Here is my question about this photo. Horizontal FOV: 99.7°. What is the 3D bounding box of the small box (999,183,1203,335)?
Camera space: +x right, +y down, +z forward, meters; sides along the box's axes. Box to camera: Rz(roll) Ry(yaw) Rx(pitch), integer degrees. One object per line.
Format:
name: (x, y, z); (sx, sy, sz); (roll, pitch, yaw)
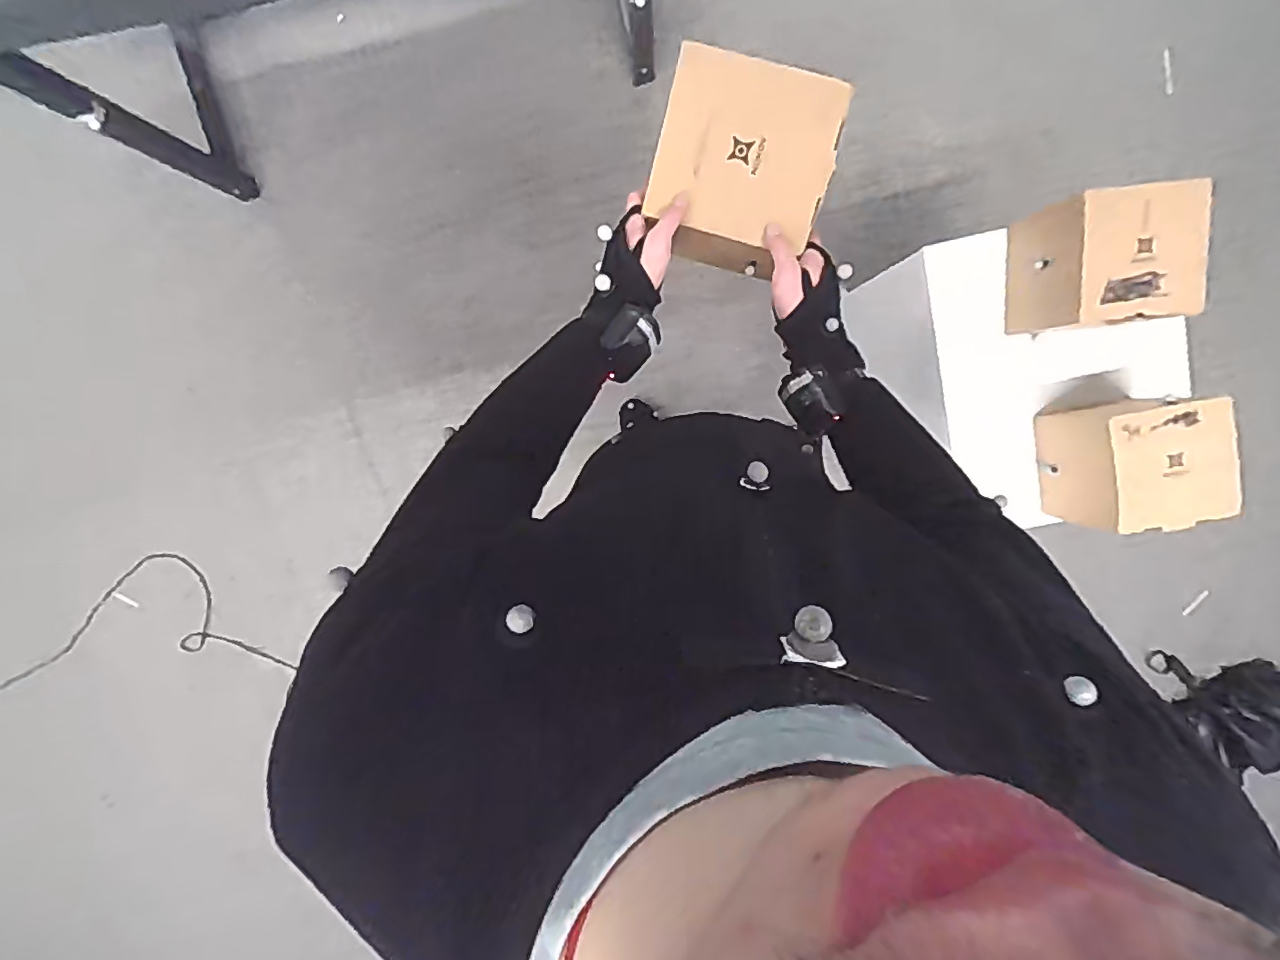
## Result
small box: (0.672, -0.316, 0.811); (0.168, 0.176, 0.179); (-4, 98, 1)

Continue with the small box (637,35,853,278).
small box: (0.104, -0.338, 0.604); (0.179, 0.176, 0.168); (14, 100, 1)

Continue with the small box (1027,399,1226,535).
small box: (0.749, -0.028, 0.849); (0.168, 0.176, 0.179); (-11, 97, 2)
